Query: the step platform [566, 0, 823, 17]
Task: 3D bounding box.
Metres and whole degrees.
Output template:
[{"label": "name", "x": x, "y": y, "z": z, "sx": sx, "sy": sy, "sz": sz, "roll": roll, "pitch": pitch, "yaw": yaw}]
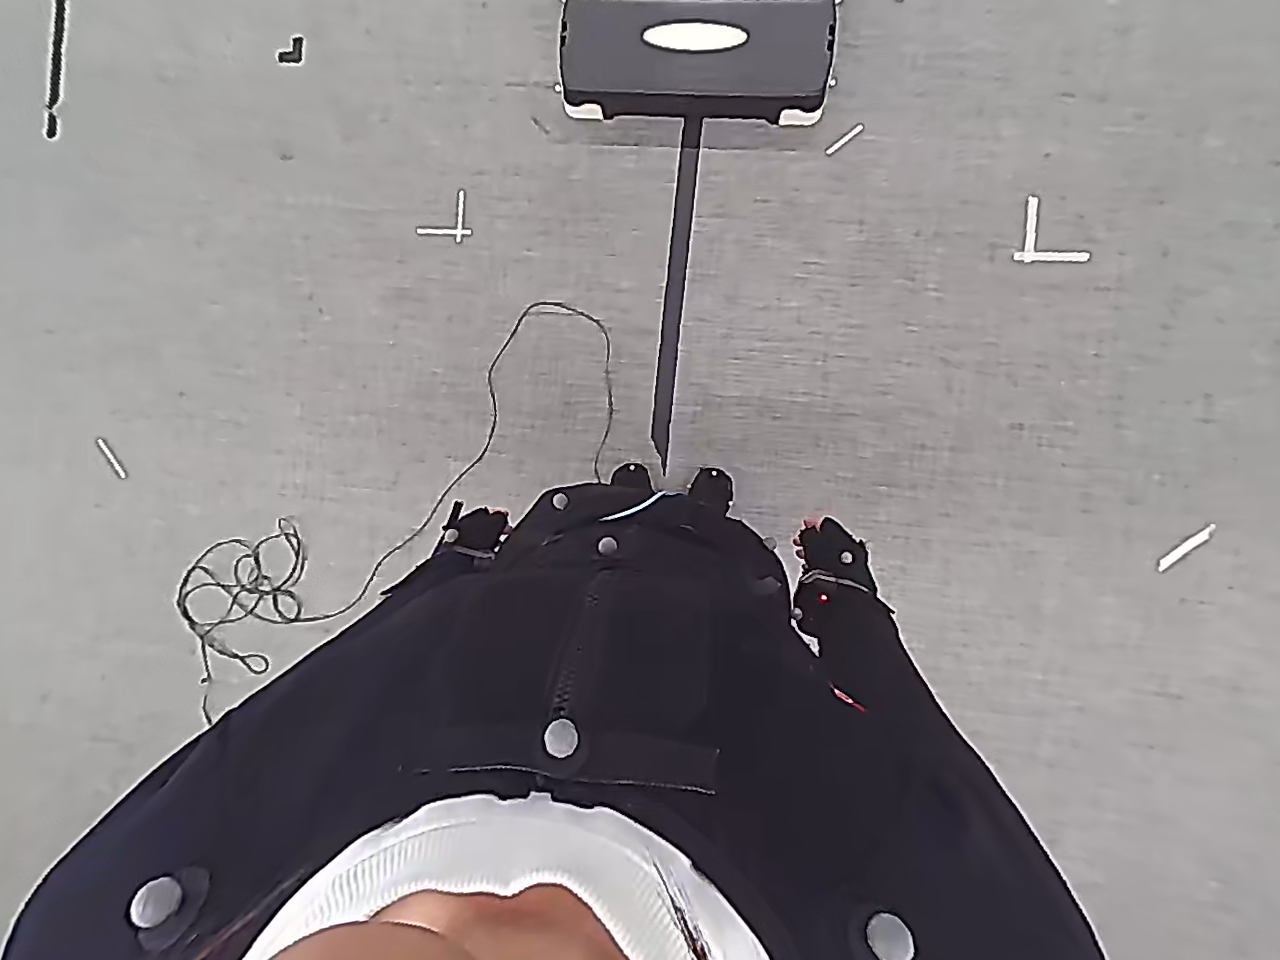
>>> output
[{"label": "step platform", "x": 0.133, "y": -1.328, "z": 1.288, "sx": 0.684, "sy": 0.204, "sz": 0.286, "roll": 4, "pitch": 93, "yaw": 4}]
